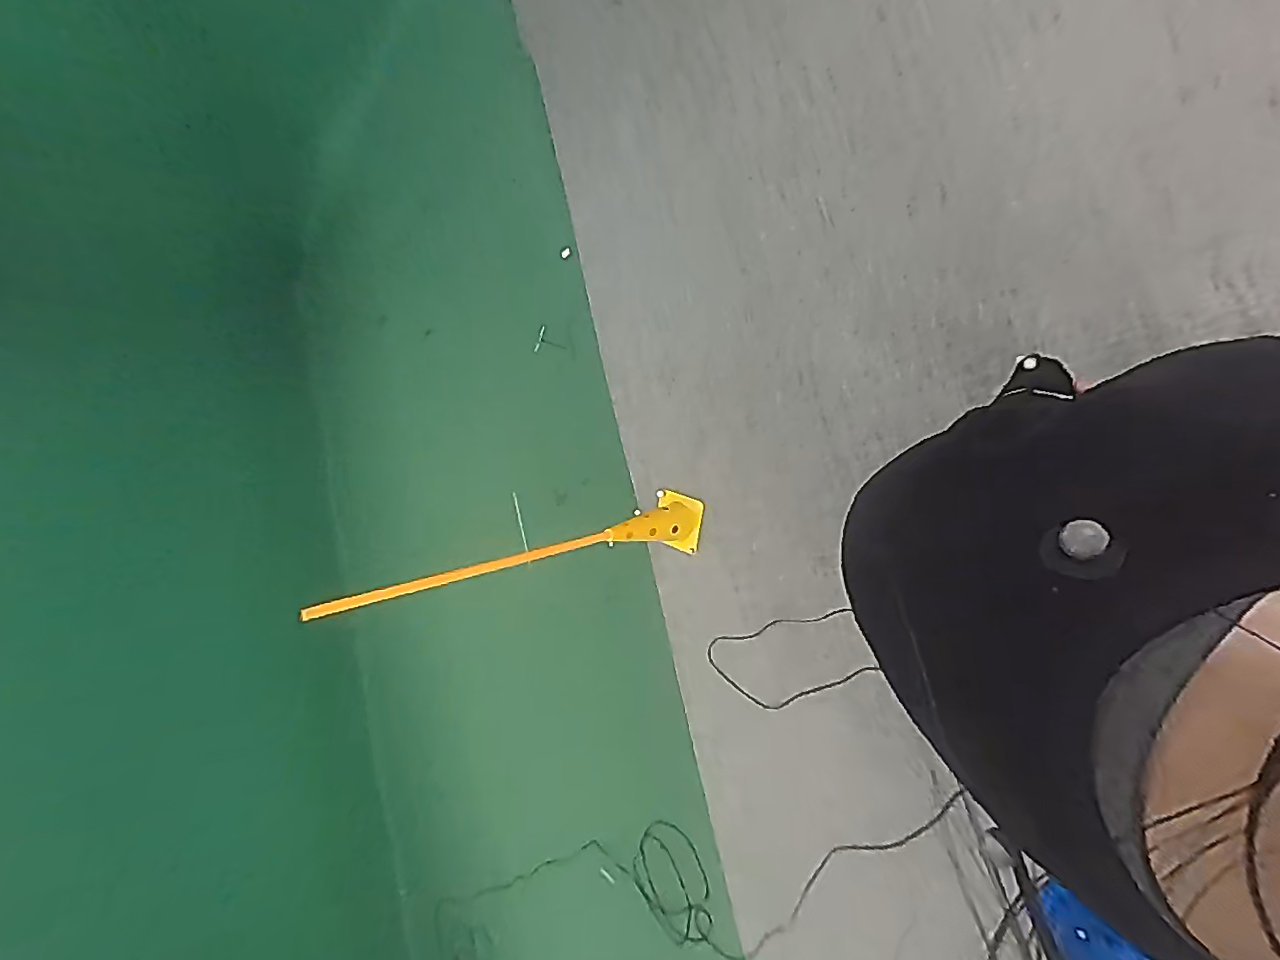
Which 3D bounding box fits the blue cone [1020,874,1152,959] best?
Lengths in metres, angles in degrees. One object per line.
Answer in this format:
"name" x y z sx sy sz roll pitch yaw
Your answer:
"blue cone" 0.901 1.025 1.099 0.193 0.380 0.192 36 115 31
